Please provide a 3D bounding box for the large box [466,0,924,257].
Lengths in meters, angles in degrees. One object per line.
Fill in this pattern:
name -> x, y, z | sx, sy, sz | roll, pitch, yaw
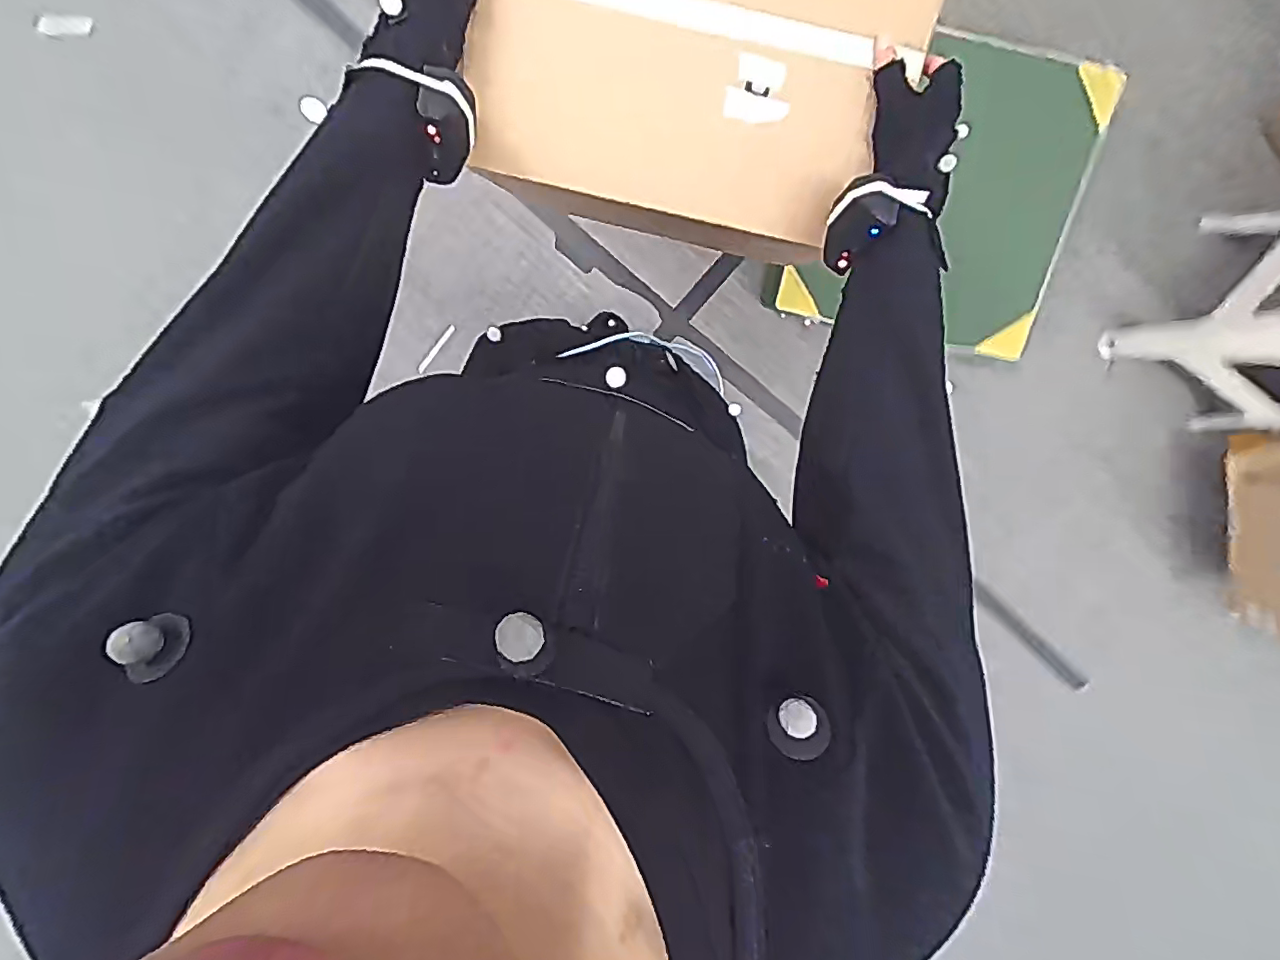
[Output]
large box -> 0.048, -0.463, 0.629 | 0.408, 0.320, 0.320 | 10, 111, -3
